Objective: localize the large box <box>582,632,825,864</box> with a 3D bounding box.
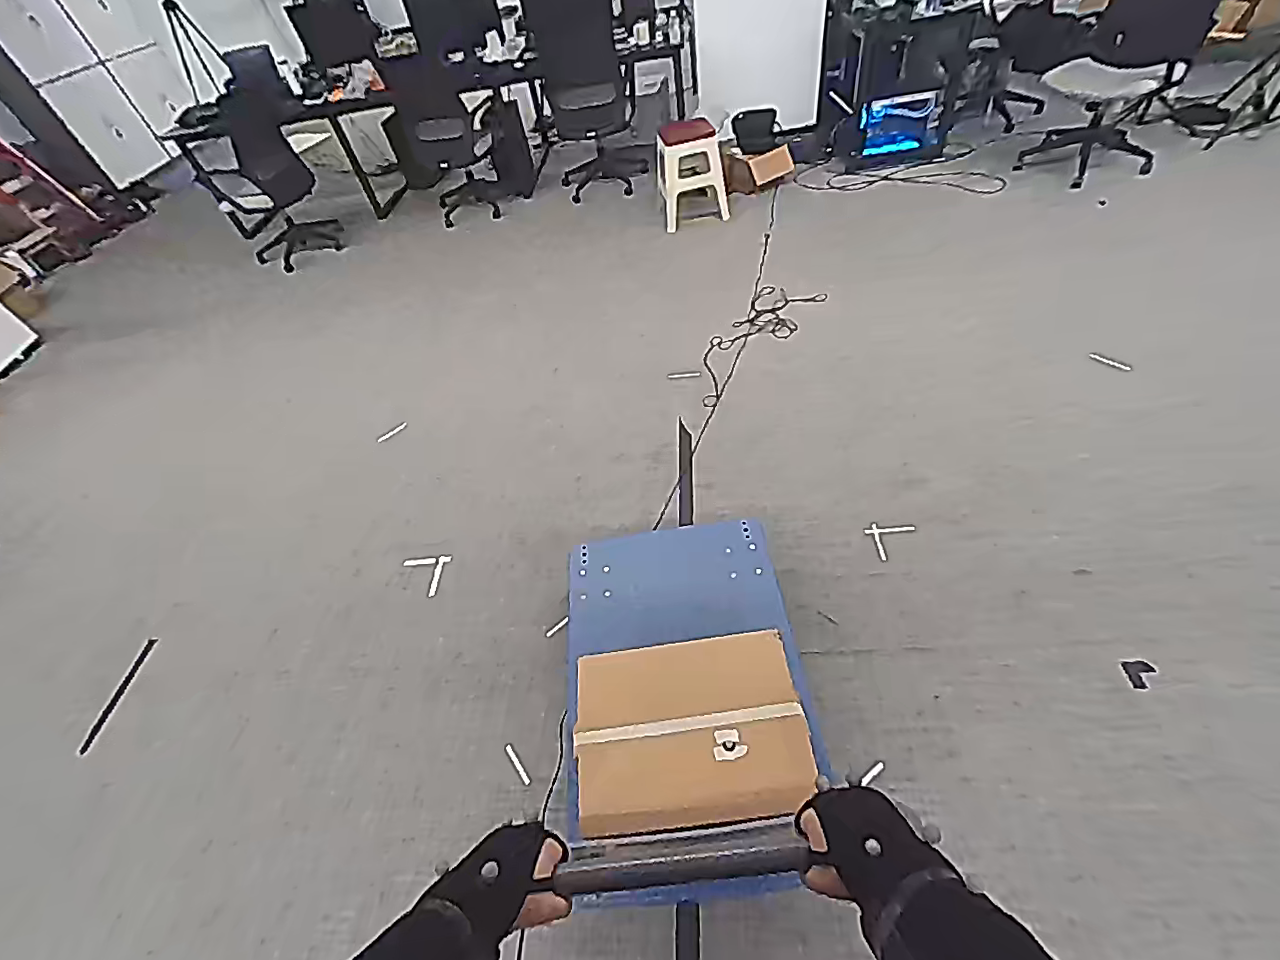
[{"bbox_3d":[0.112,0.546,1.093,0.408,0.320,0.320,-9,49,2],"label":"large box"}]
